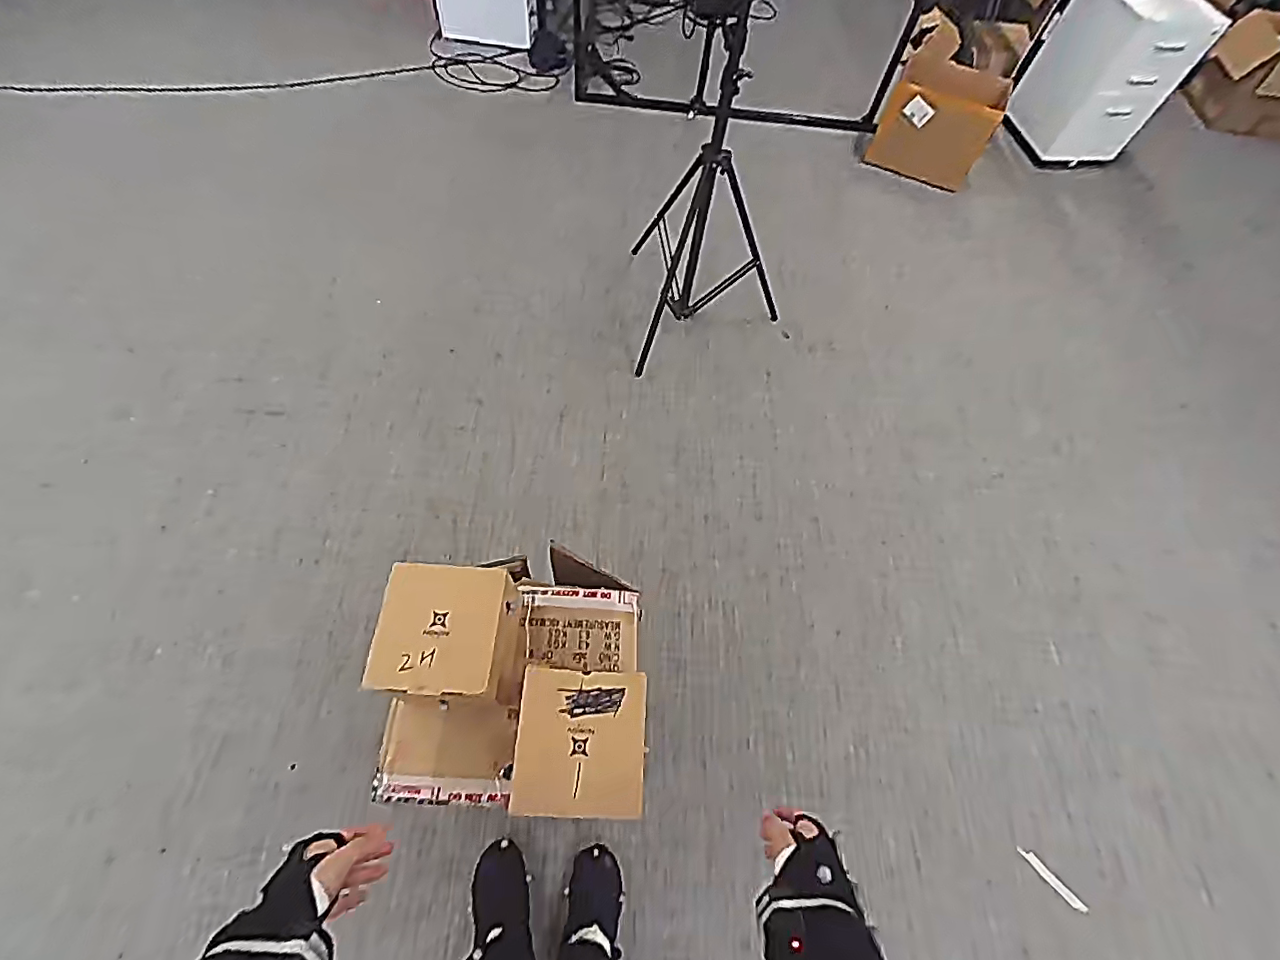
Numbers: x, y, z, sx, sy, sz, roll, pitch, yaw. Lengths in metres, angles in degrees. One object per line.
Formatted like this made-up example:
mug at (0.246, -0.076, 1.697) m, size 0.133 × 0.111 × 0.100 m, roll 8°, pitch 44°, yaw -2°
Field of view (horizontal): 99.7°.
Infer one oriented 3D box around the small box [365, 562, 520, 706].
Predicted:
small box at (-0.283, 0.239, 0.821) m, size 0.168 × 0.176 × 0.179 m, roll 4°, pitch 63°, yaw -2°

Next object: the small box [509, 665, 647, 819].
small box at (-0.085, 0.371, 0.772) m, size 0.168 × 0.176 × 0.179 m, roll 5°, pitch 64°, yaw -4°
